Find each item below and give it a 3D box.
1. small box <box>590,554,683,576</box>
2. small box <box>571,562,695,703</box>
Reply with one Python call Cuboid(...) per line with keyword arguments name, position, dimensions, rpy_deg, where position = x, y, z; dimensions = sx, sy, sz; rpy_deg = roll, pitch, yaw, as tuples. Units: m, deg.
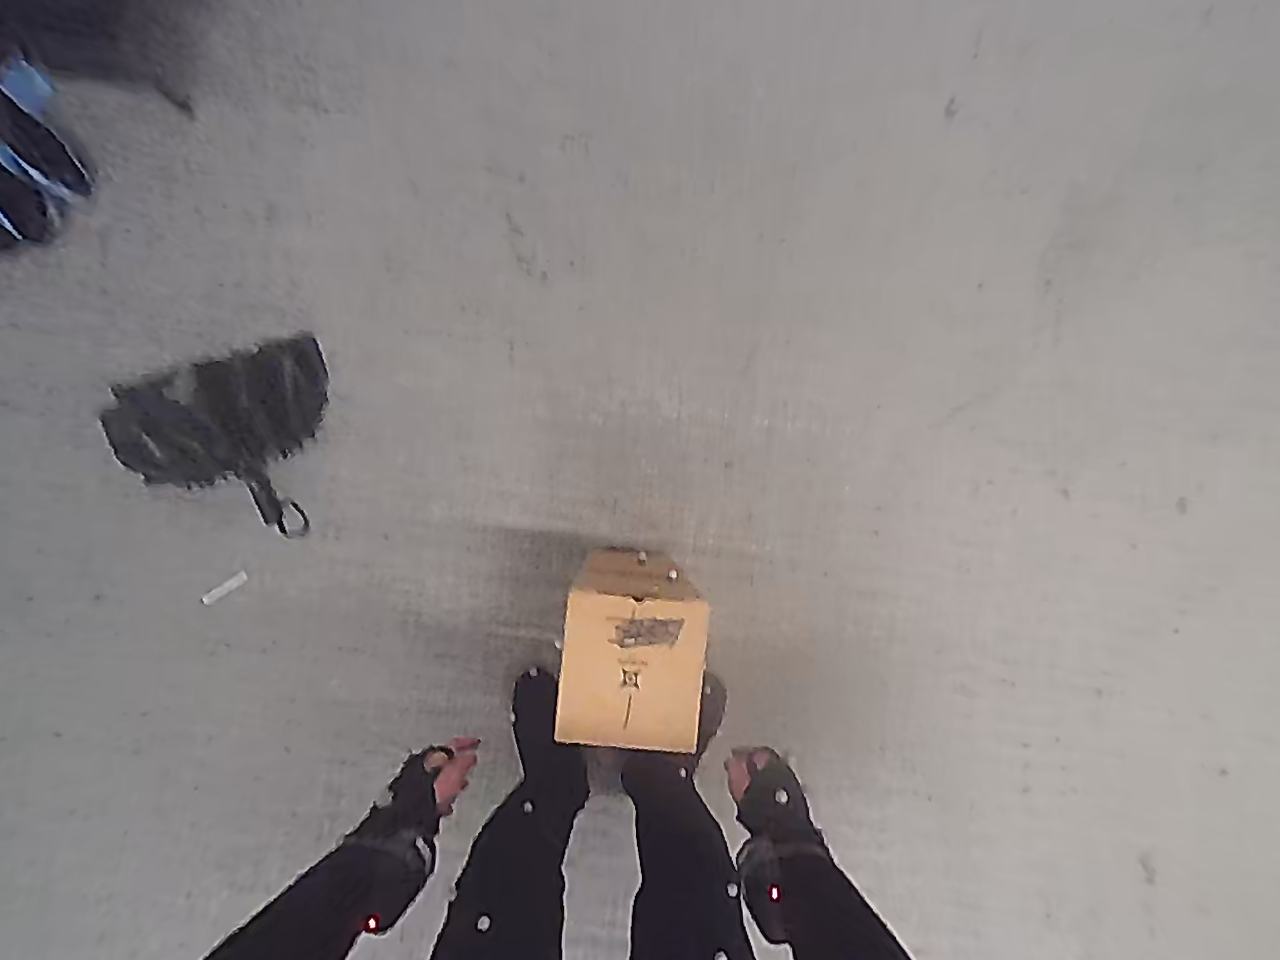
Cuboid(name="small box", position=(-0.014, 0.240, 1.012), dimensions=(0.168, 0.176, 0.179), rpy_deg=(4, 87, -1))
Cuboid(name="small box", position=(-0.011, 0.229, 0.851), dimensions=(0.168, 0.176, 0.179), rpy_deg=(5, 85, -1))
